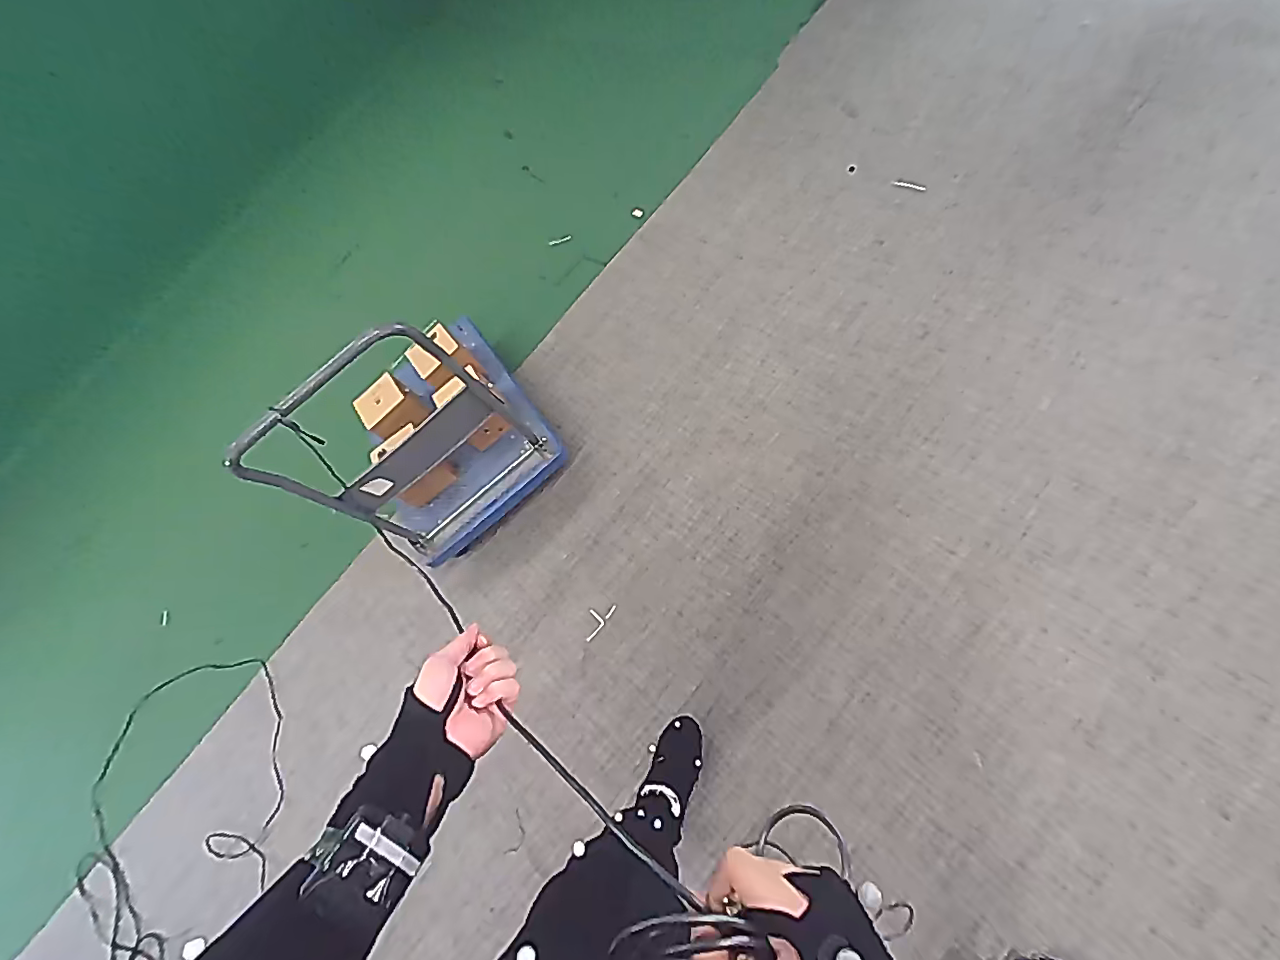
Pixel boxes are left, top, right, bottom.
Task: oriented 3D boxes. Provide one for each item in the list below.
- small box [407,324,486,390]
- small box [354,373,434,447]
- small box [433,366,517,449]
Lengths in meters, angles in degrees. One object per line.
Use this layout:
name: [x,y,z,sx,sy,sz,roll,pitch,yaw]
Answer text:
small box: [-0.684,-0.412,1.921,0.168,0.176,0.179,-43,58,1]
small box: [-0.866,-0.240,1.920,0.168,0.176,0.179,-43,57,-1]
small box: [-0.540,-0.234,1.777,0.168,0.176,0.179,-39,58,2]
